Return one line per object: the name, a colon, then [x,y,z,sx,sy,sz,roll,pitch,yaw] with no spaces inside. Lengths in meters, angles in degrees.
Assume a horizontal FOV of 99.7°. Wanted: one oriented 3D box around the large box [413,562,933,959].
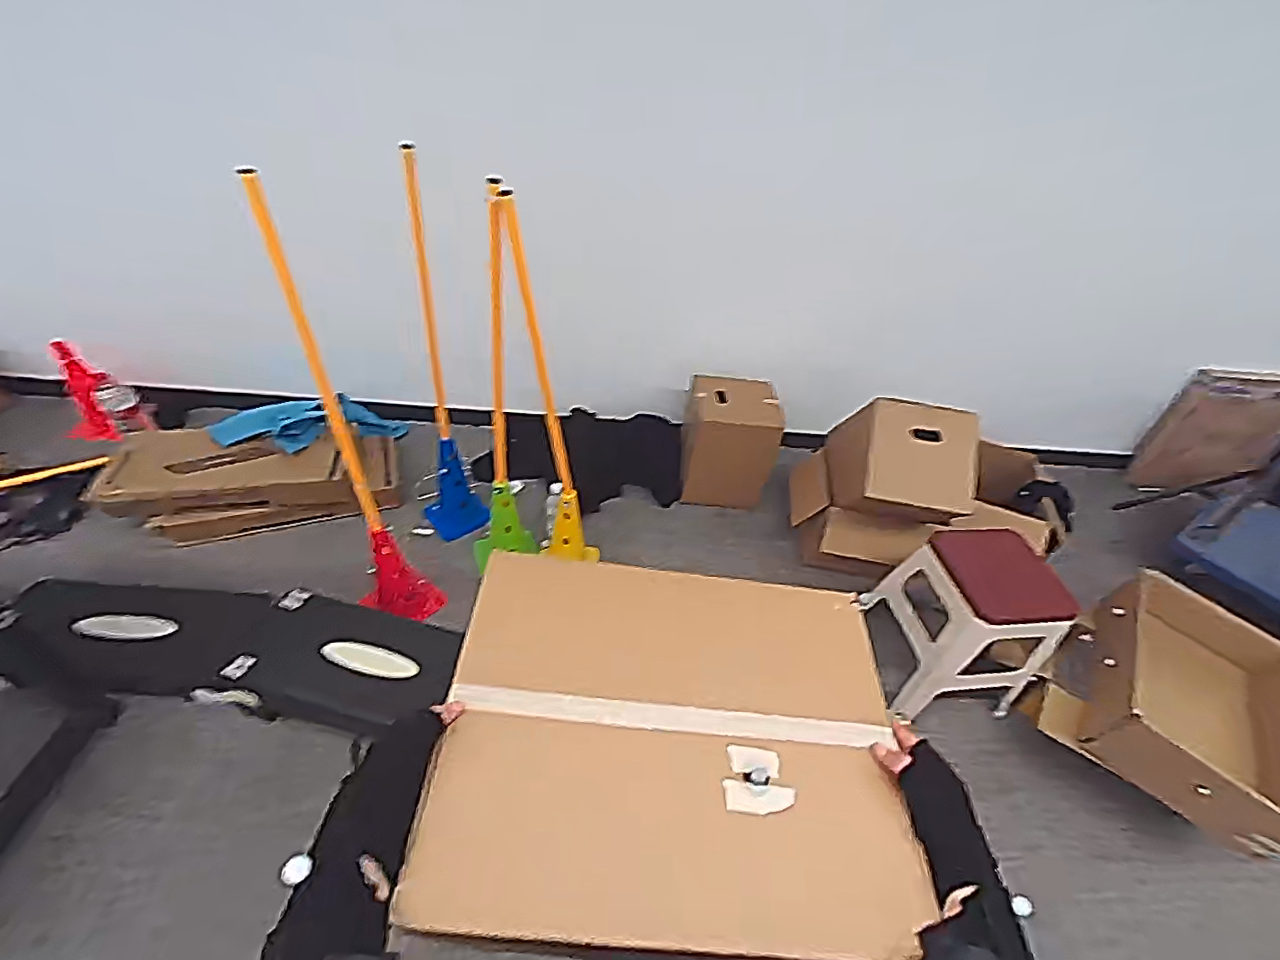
large box: [0.015,0.324,0.607,0.408,0.320,0.320,8,48,-4]
